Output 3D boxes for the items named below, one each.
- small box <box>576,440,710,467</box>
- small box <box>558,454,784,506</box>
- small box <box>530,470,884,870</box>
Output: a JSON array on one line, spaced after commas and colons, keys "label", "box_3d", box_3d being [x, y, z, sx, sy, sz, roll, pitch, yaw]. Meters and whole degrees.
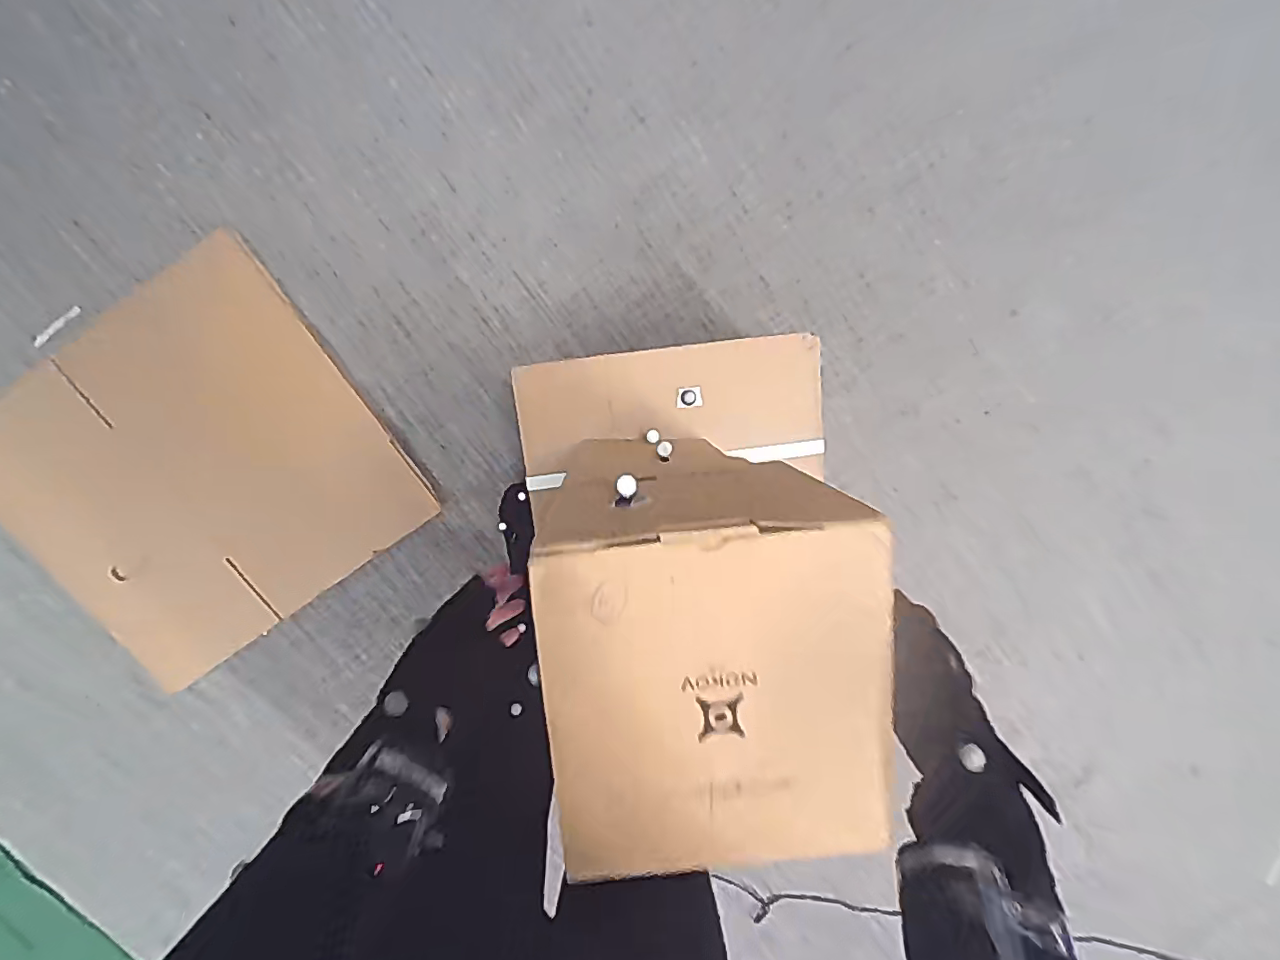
[{"label": "small box", "box_3d": [0.010, 0.049, 0.662, 0.168, 0.176, 0.179, 0, 100, -2]}, {"label": "small box", "box_3d": [0.023, 0.066, 0.501, 0.179, 0.176, 0.168, -2, 98, -3]}, {"label": "small box", "box_3d": [0.033, 0.091, 0.338, 0.168, 0.176, 0.179, -5, 101, -1]}]
